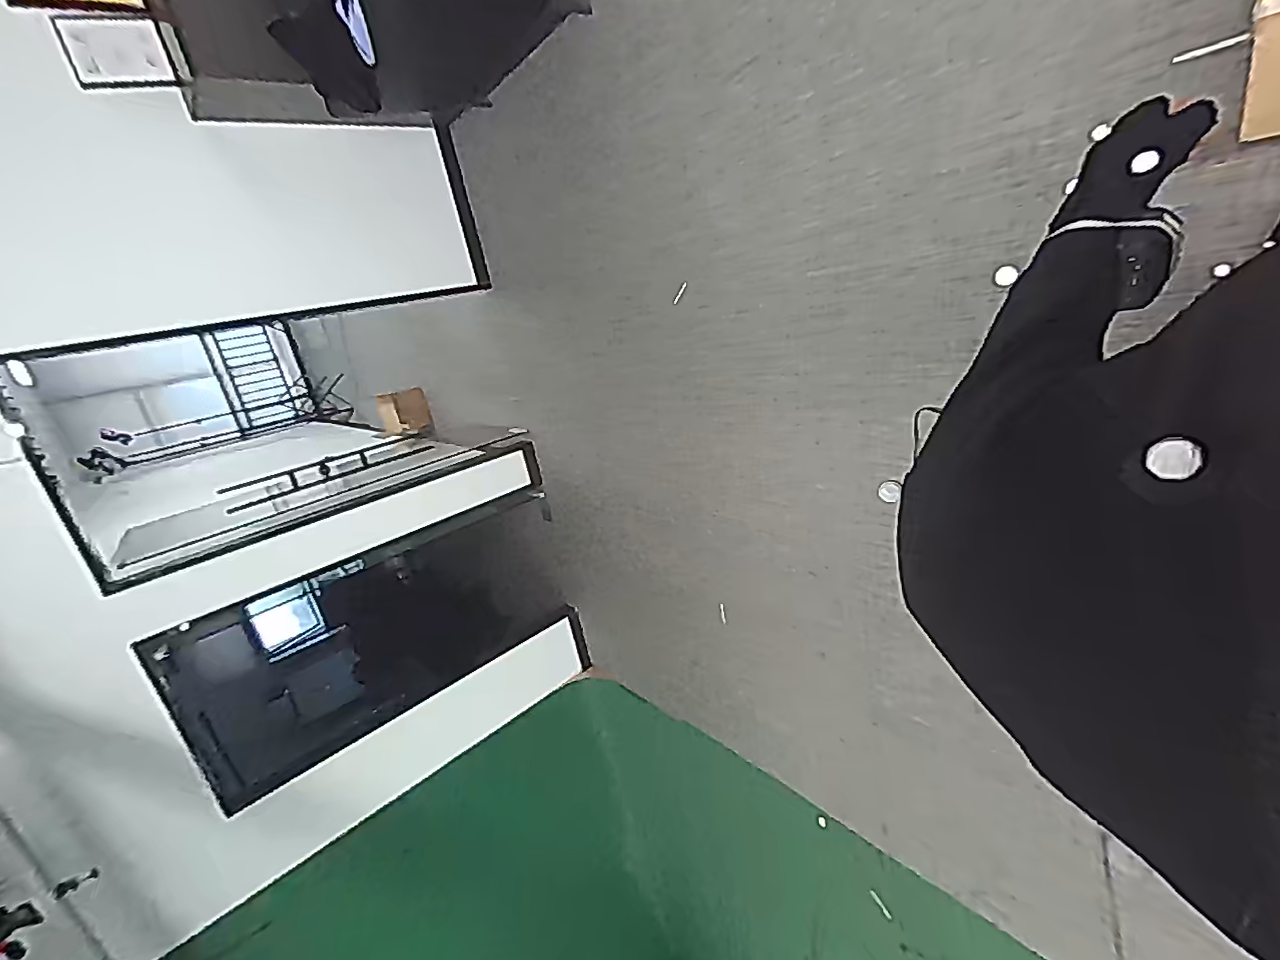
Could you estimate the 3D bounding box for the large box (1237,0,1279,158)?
[{"bbox_3d":[1.045,-0.623,0.649,0.408,0.320,0.320,12,118,49],"label":"large box"}]
